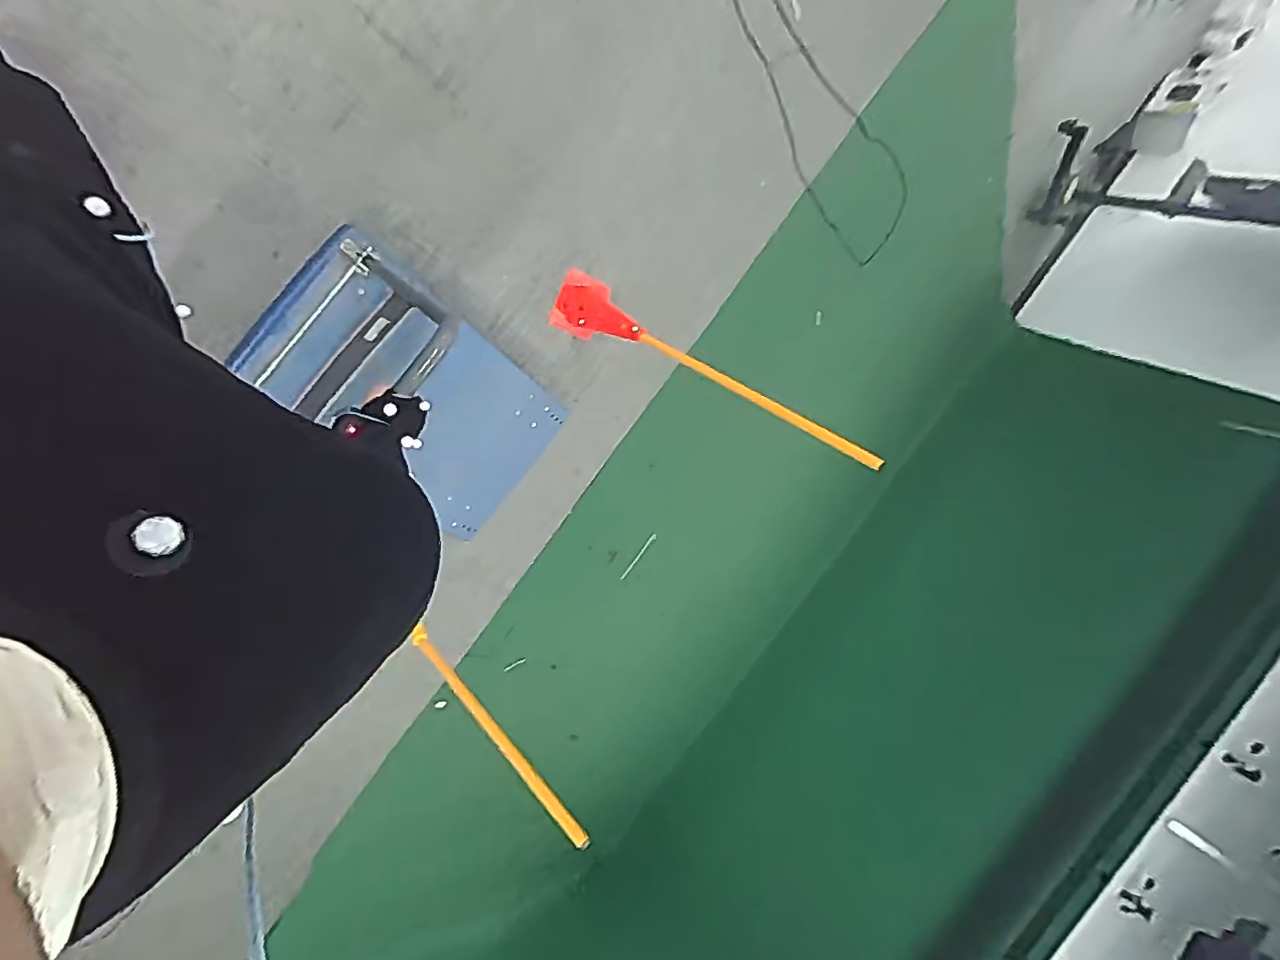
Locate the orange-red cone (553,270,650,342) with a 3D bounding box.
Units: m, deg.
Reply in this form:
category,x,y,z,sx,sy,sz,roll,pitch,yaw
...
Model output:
category,x,y,z,sx,sy,sz,roll,pitch,yaw
orange-red cone,-0.094,-0.533,1.796,0.198,0.360,0.199,13,108,-50
